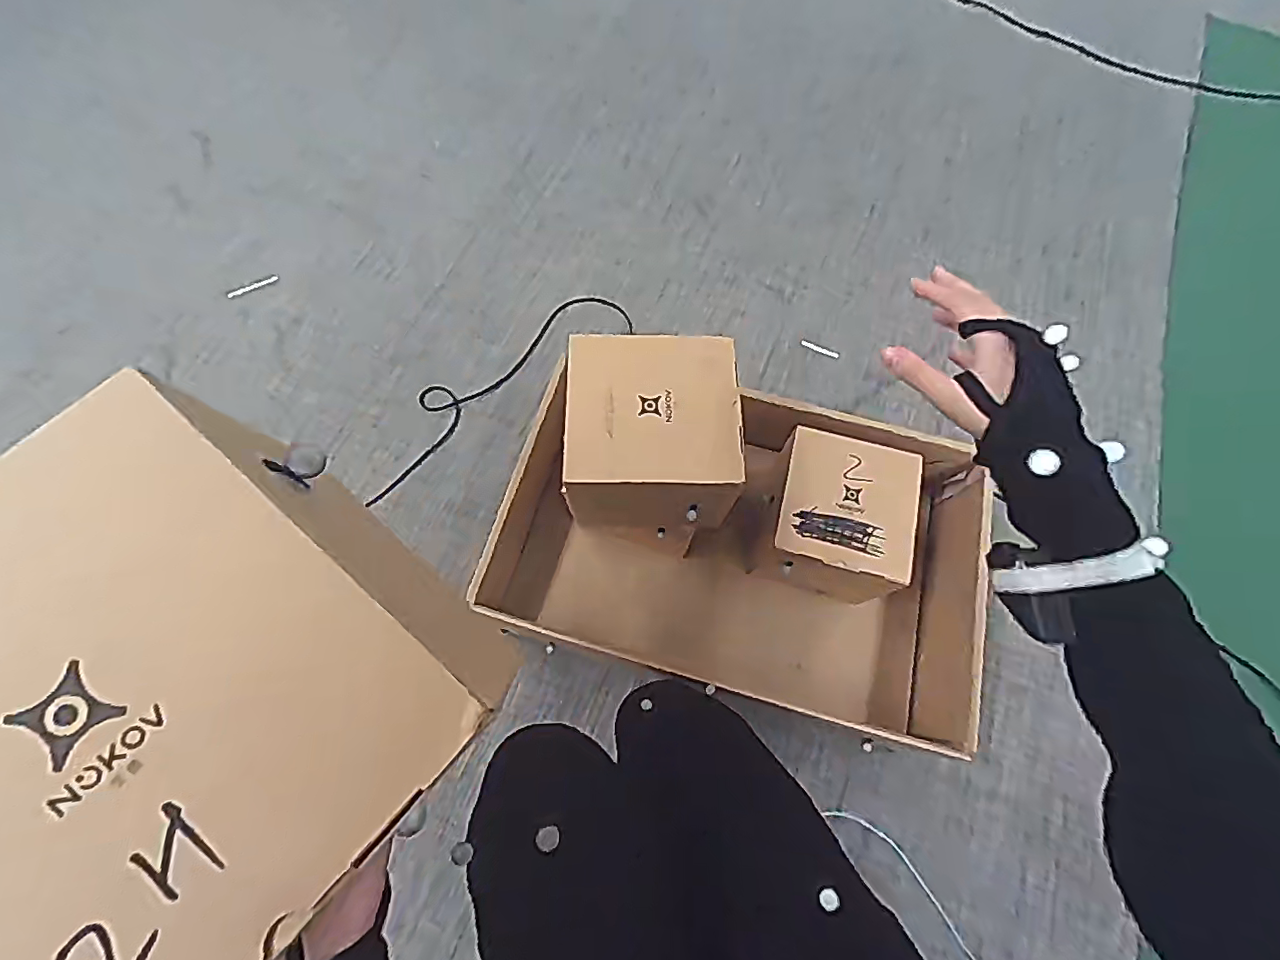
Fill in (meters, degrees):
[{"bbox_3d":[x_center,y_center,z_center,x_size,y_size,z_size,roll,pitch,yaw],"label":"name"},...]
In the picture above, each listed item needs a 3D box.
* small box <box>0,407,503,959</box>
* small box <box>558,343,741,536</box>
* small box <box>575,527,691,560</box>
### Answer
[{"bbox_3d":[-0.184,0.104,0.243,0.179,0.176,0.168,43,75,1],"label":"small box"},{"bbox_3d":[0.008,-0.037,0.612,0.179,0.176,0.168,1,70,-1],"label":"small box"},{"bbox_3d":[0.003,0.003,0.771,0.179,0.176,0.168,16,71,4],"label":"small box"}]
